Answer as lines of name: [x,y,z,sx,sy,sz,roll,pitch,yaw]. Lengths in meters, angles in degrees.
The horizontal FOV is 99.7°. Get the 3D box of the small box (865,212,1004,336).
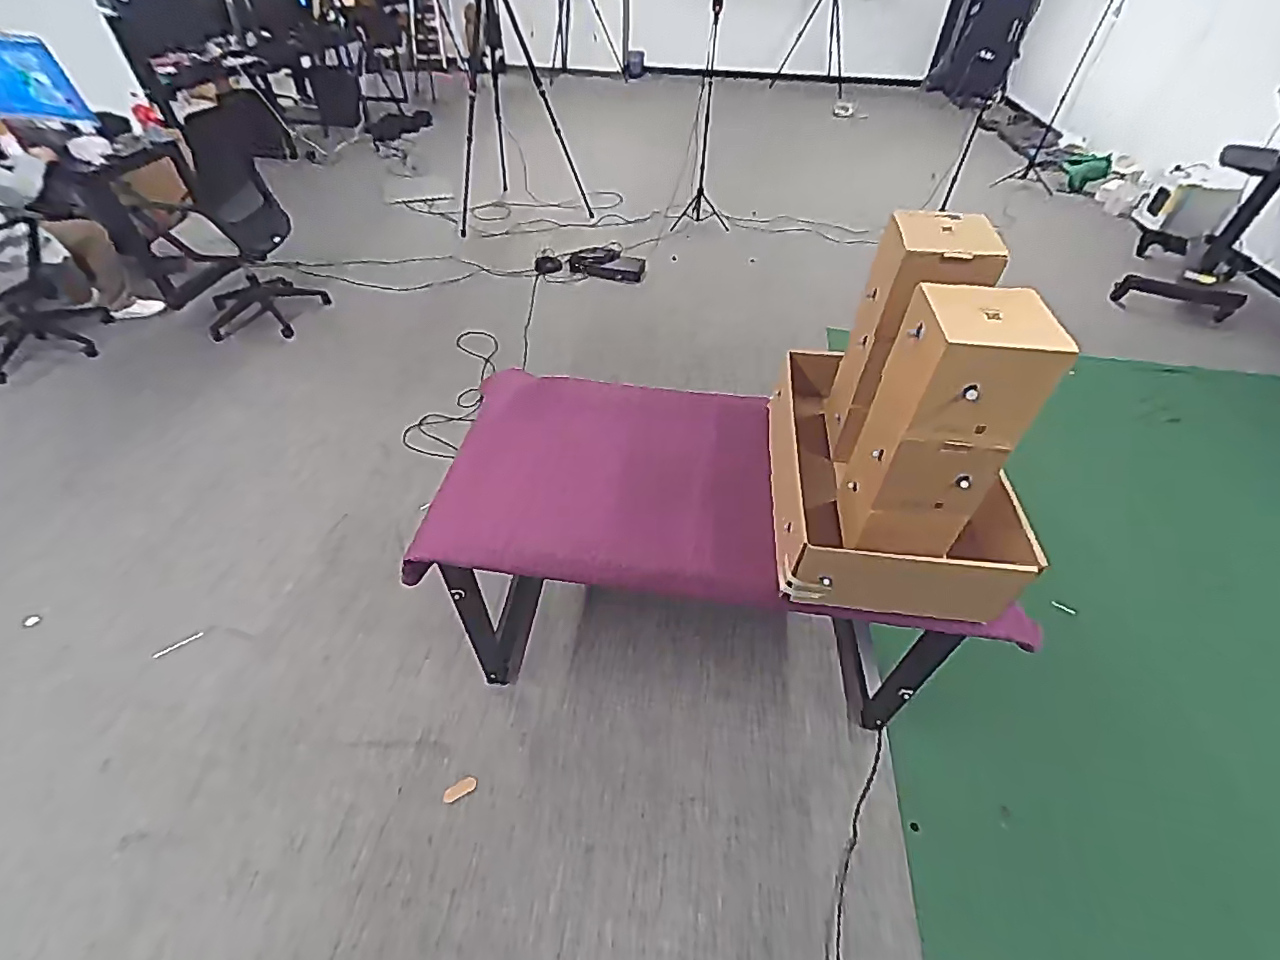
small box: [0.531,-0.374,1.004,0.168,0.176,0.179,8,49,6]

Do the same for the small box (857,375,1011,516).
small box: [0.488,-0.057,0.929,0.168,0.176,0.179,6,45,6]

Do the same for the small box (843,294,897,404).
small box: [0.533,-0.263,1.125,0.168,0.176,0.179,8,48,6]

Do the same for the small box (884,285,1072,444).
small box: [0.489,-0.172,0.815,0.168,0.176,0.179,6,45,5]
